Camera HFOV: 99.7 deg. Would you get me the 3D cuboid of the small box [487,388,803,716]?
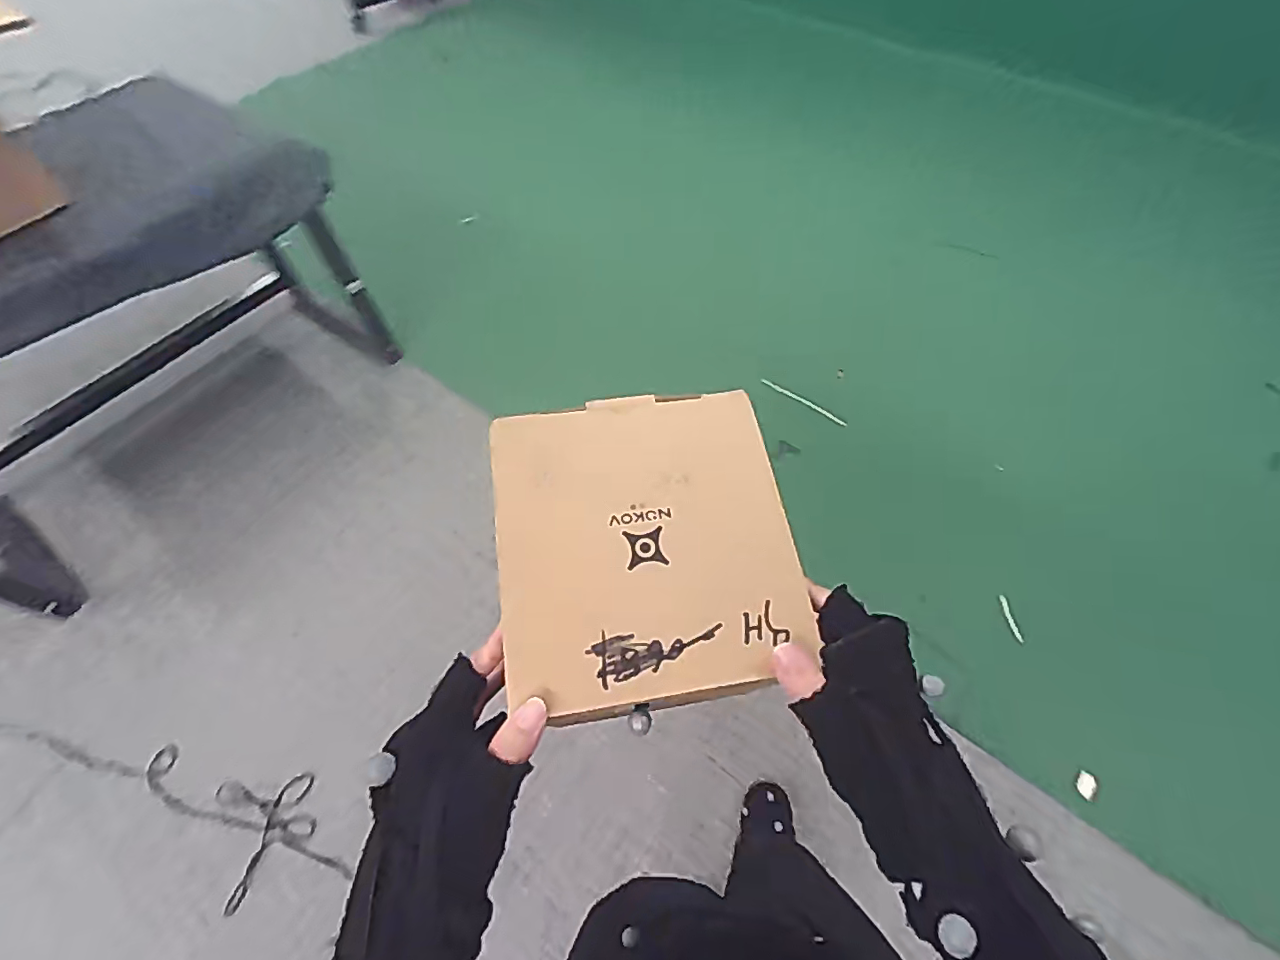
[{"bbox_3d":[-0.009,0.060,0.390,0.168,0.176,0.179,-8,64,-6],"label":"small box"}]
